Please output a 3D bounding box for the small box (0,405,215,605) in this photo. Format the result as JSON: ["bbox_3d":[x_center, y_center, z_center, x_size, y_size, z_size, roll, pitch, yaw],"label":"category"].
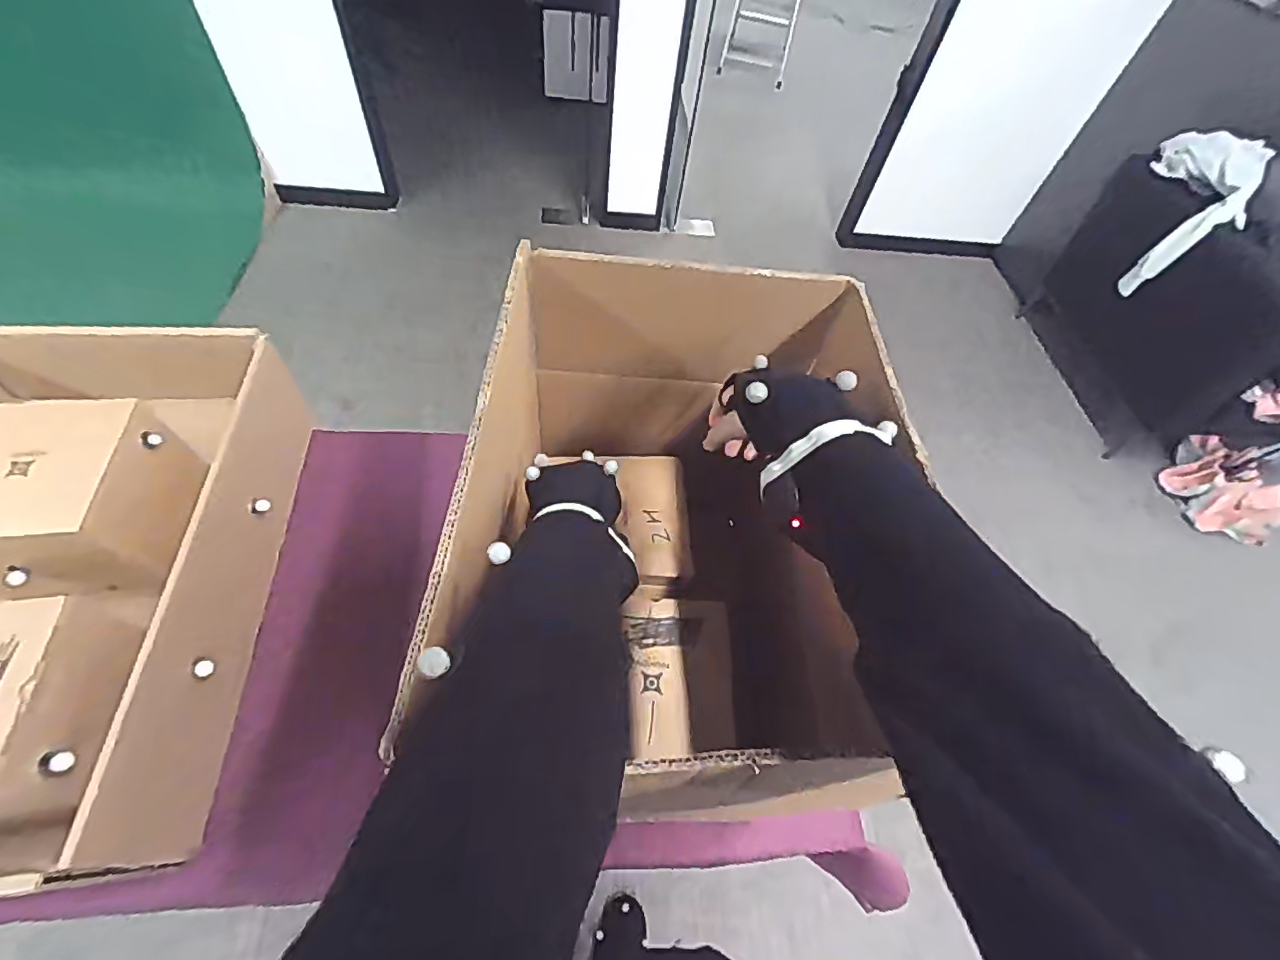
[{"bbox_3d":[-0.644,0.036,0.629,0.168,0.176,0.179,-4,57,-9],"label":"small box"}]
